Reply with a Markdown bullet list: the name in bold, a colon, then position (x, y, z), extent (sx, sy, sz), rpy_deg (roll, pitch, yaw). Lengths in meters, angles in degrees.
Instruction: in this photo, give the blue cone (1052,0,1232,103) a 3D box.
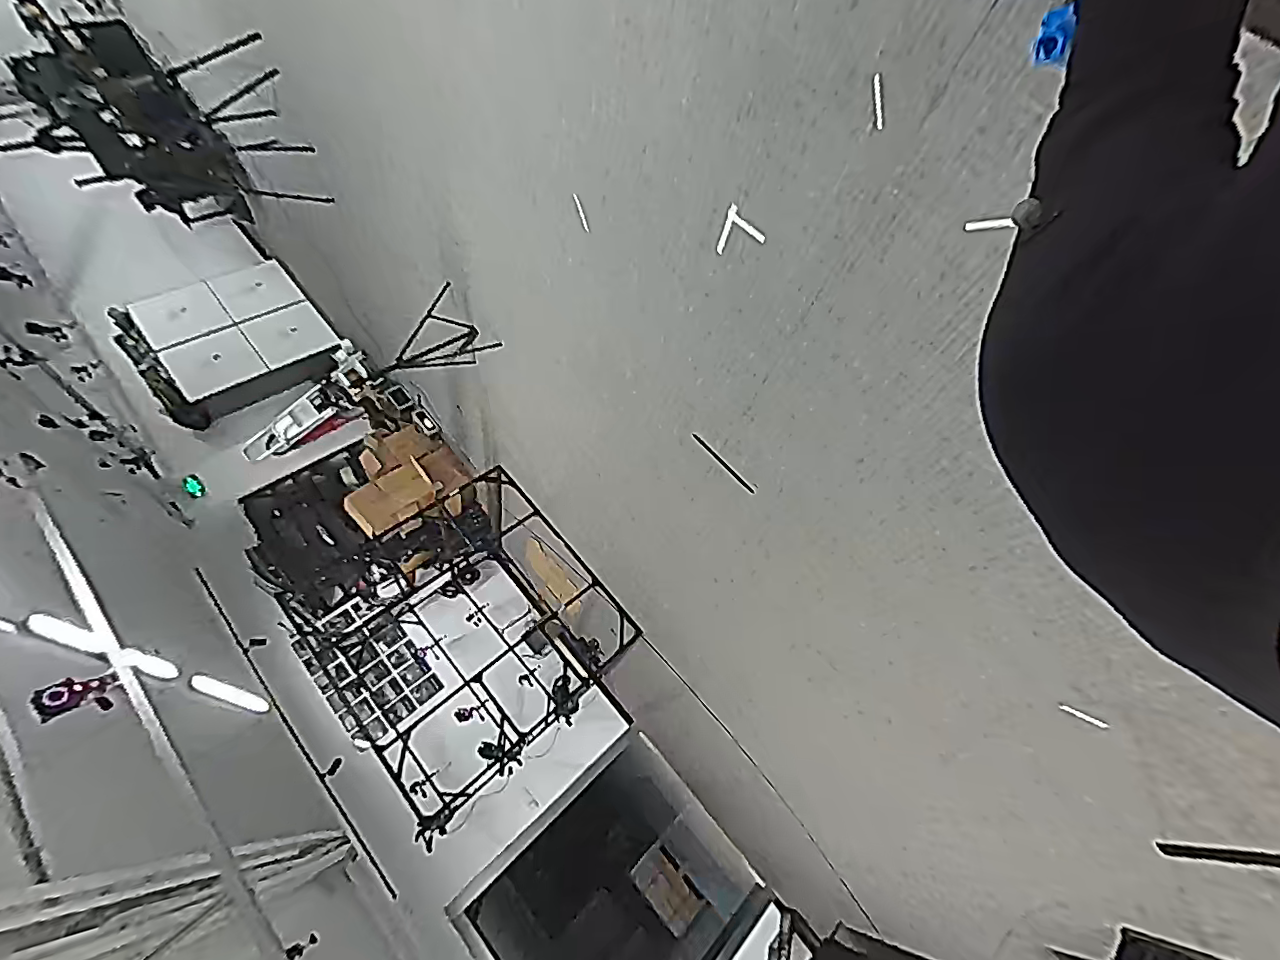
- **blue cone**: position (0.750, -0.720, 0.869), extent (0.192, 0.380, 0.193), rpy_deg (57, 154, -5)
